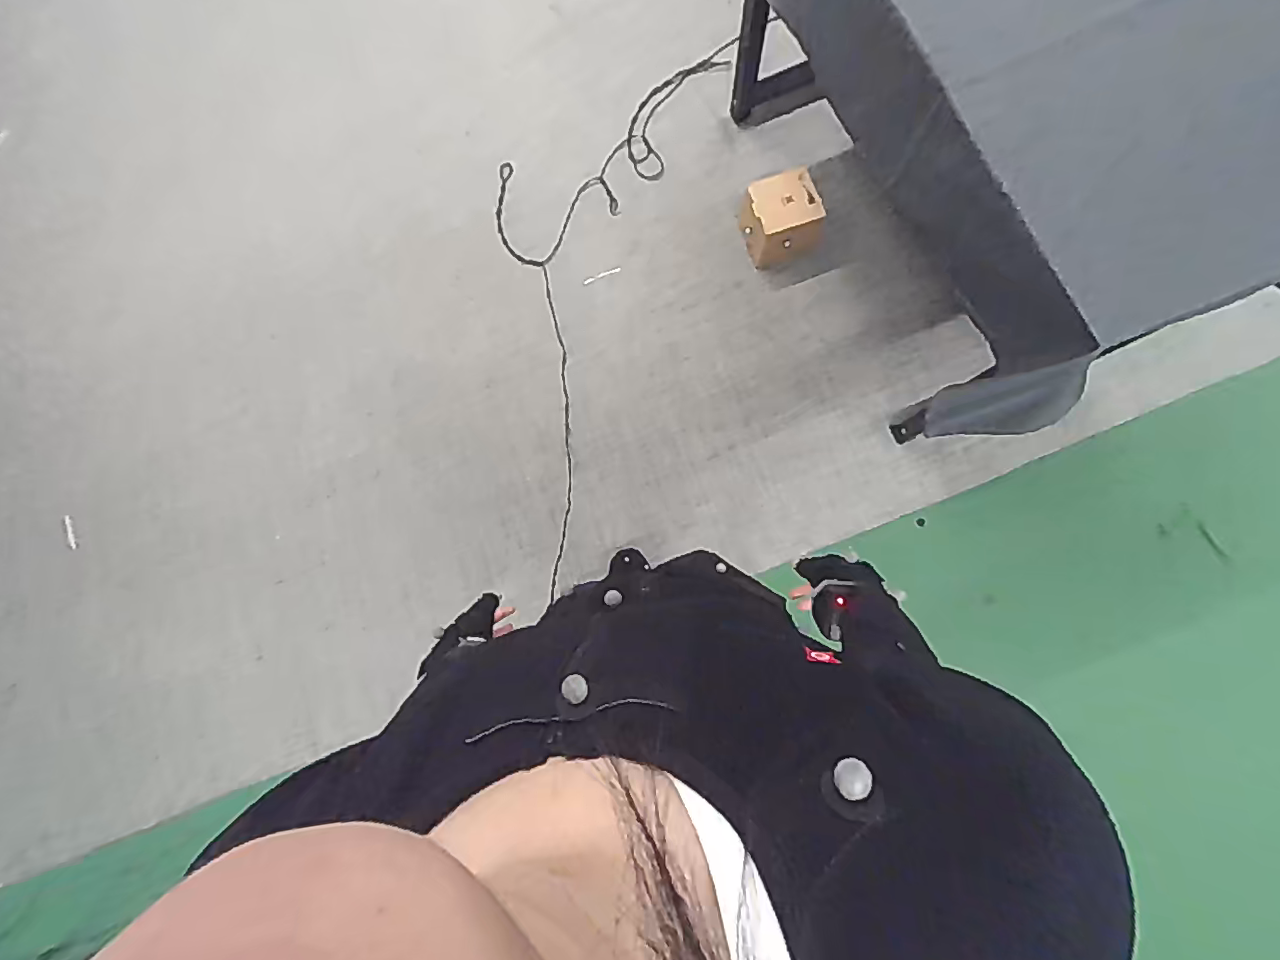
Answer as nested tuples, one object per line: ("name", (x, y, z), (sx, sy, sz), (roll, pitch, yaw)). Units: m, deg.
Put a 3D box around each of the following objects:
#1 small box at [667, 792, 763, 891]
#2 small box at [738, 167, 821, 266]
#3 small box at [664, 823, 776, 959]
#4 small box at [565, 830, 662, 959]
("small box", (0.168, 0.881, 1.293), (0.168, 0.176, 0.179), (-25, 81, -2))
("small box", (0.389, -0.744, 1.545), (0.179, 0.176, 0.168), (-18, 80, 0))
("small box", (0.157, 0.863, 1.132), (0.179, 0.176, 0.168), (-22, 81, -1))
("small box", (-0.055, 0.988, 1.286), (0.168, 0.176, 0.179), (-27, 81, -2))
